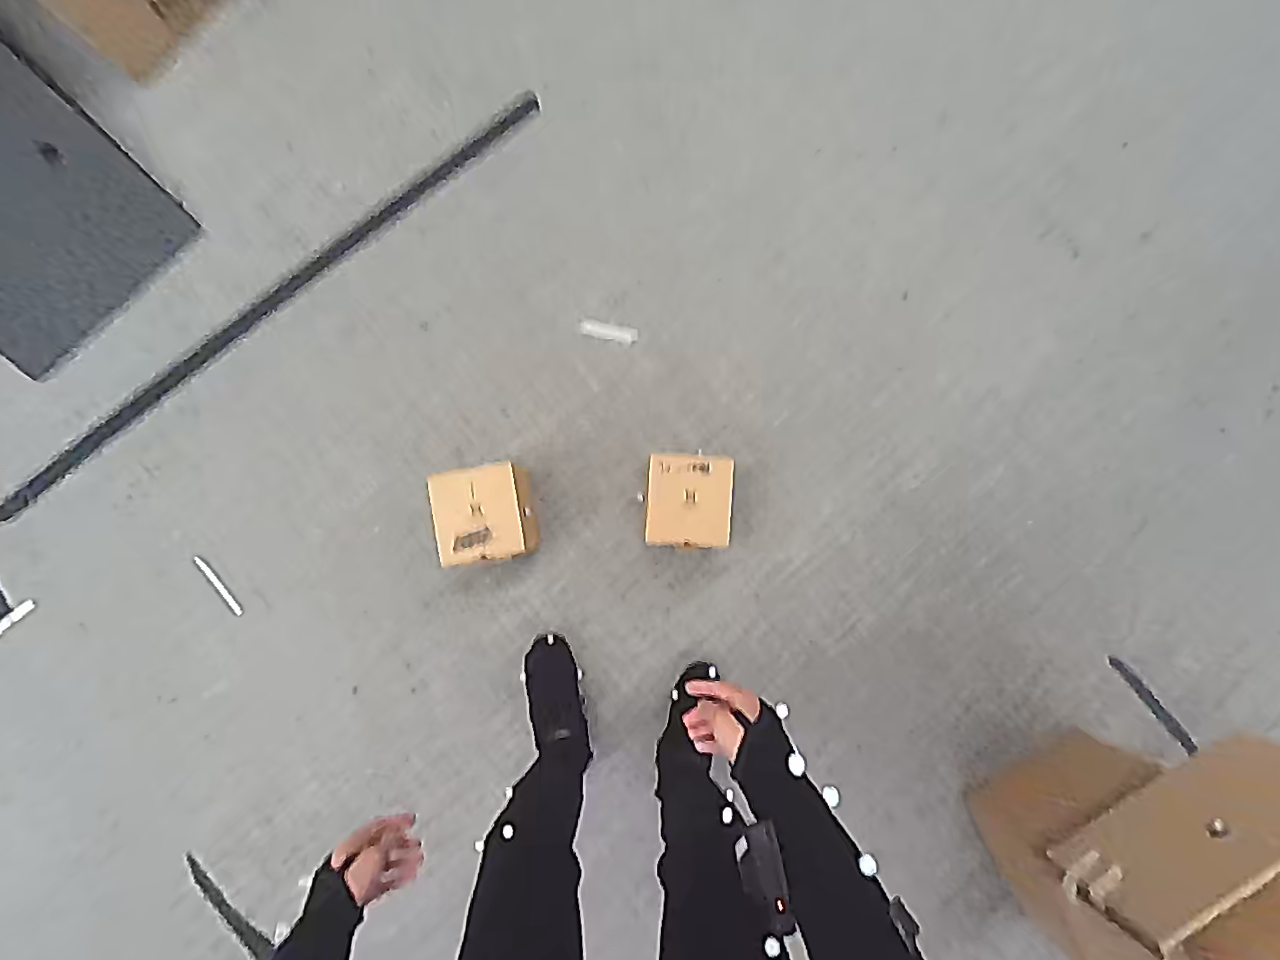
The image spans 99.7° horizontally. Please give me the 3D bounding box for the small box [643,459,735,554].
[{"bbox_3d":[0.096,0.054,1.133,0.168,0.176,0.179,4,88,-2],"label":"small box"}]

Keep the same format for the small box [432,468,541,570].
[{"bbox_3d":[-0.309,0.080,1.123,0.168,0.176,0.179,-10,86,-2],"label":"small box"}]
